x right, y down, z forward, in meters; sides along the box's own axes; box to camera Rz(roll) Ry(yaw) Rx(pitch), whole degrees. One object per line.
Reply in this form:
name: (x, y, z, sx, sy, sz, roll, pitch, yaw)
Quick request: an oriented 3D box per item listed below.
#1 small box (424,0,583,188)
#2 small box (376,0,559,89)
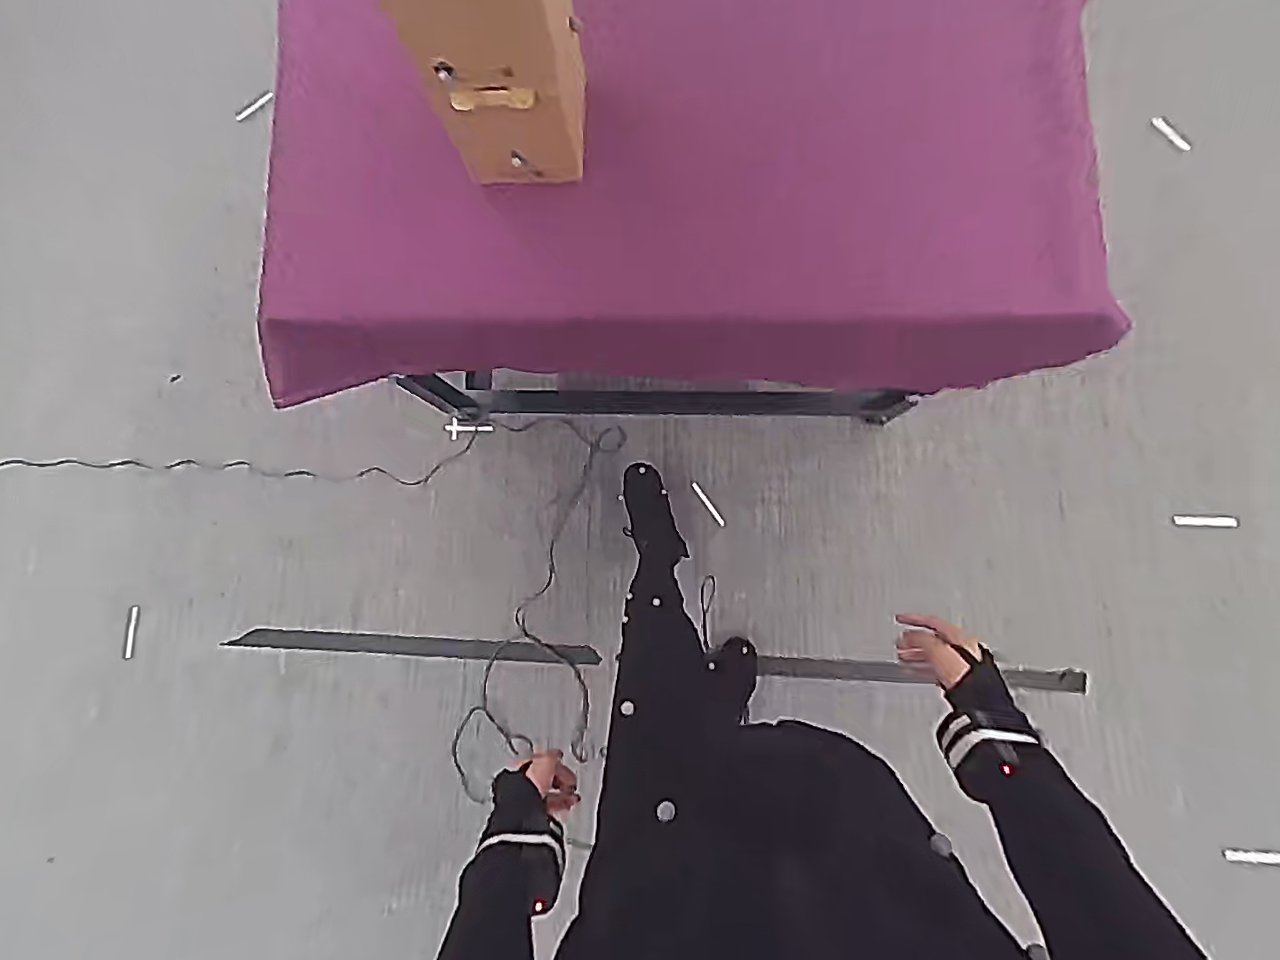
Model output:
small box: (-0.174, -0.533, 0.739, 0.168, 0.176, 0.179, 0, 83, 4)
small box: (-0.184, -0.556, 0.577, 0.168, 0.176, 0.179, -3, 81, 2)
